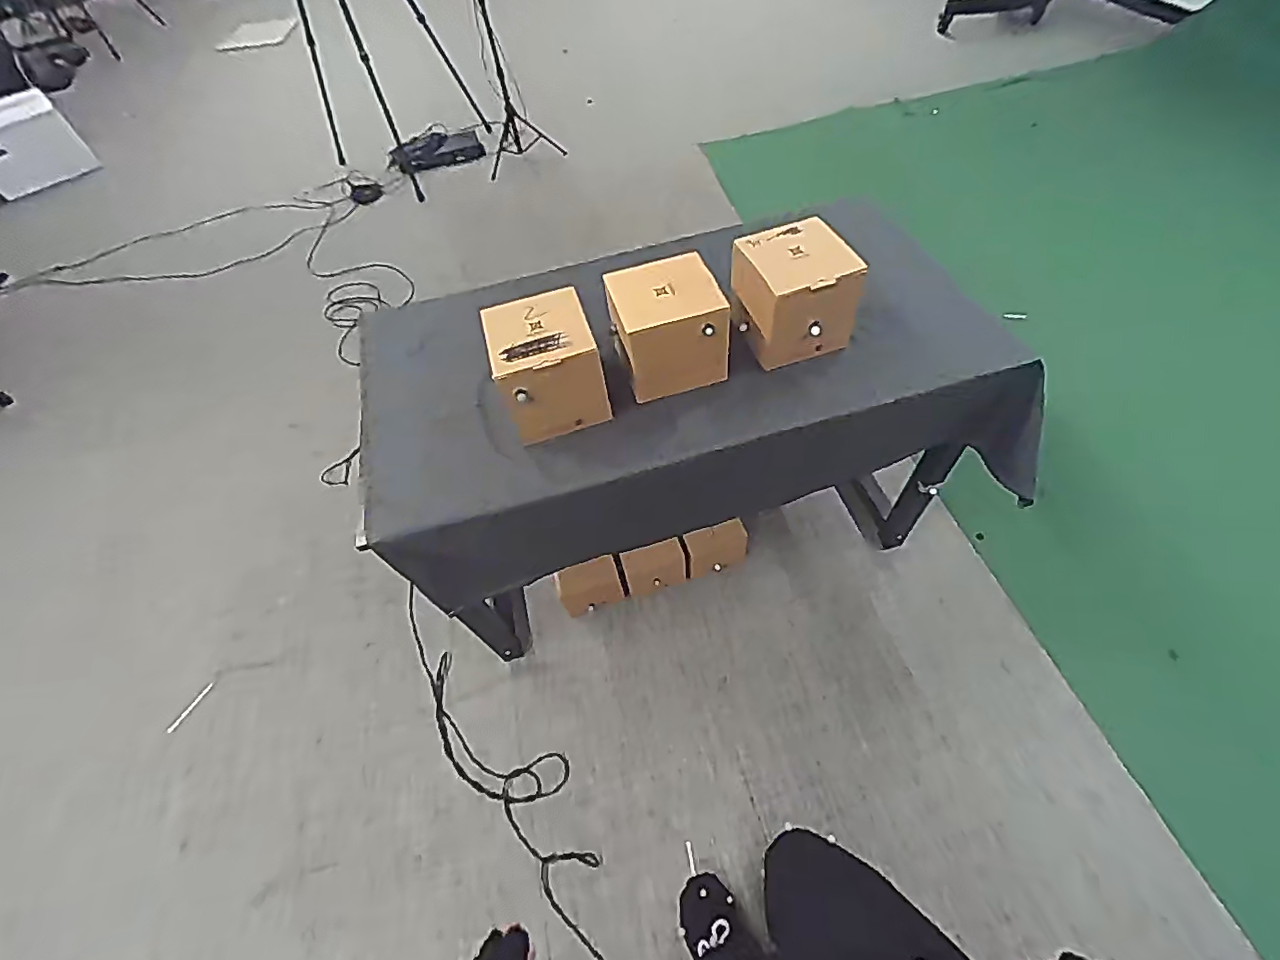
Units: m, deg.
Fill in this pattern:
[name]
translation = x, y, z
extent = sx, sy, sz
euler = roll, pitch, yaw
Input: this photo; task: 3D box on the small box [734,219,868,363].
[small box]
translation = 0.280, -0.334, 0.982
extent = 0.168, 0.176, 0.179
euler = -17, 56, -6
